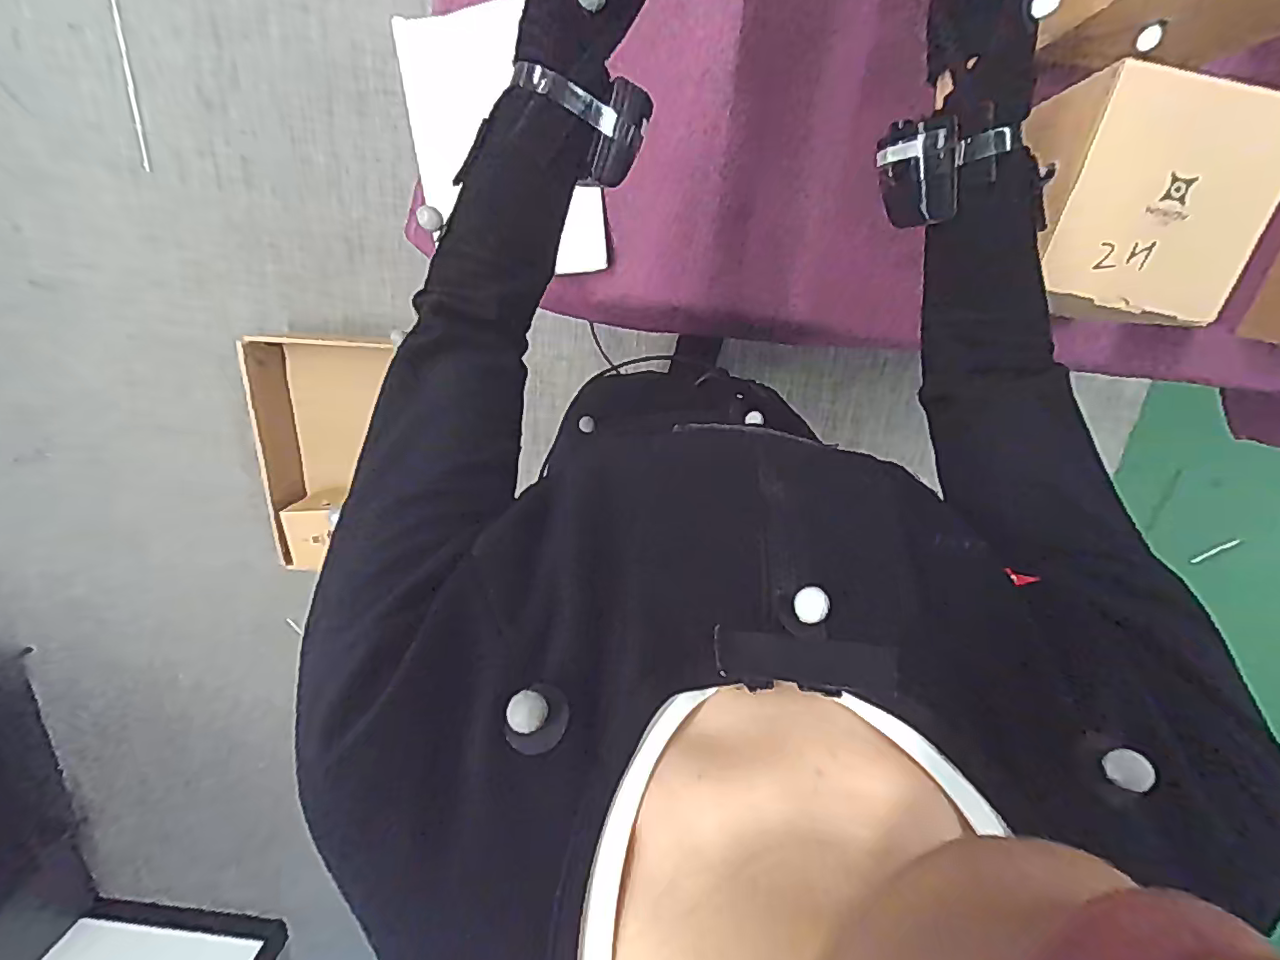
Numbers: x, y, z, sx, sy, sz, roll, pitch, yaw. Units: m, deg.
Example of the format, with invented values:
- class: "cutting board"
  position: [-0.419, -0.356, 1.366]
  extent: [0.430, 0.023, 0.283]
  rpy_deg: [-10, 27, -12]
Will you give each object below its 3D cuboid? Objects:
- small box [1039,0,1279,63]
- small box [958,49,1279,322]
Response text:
- class: "small box"
  position: [0.480, -0.475, 0.447]
  extent: [0.168, 0.176, 0.179]
  rpy_deg: [7, 109, 2]
- class: "small box"
  position: [0.447, -0.261, 0.520]
  extent: [0.168, 0.176, 0.179]
  rpy_deg: [12, 110, 0]
